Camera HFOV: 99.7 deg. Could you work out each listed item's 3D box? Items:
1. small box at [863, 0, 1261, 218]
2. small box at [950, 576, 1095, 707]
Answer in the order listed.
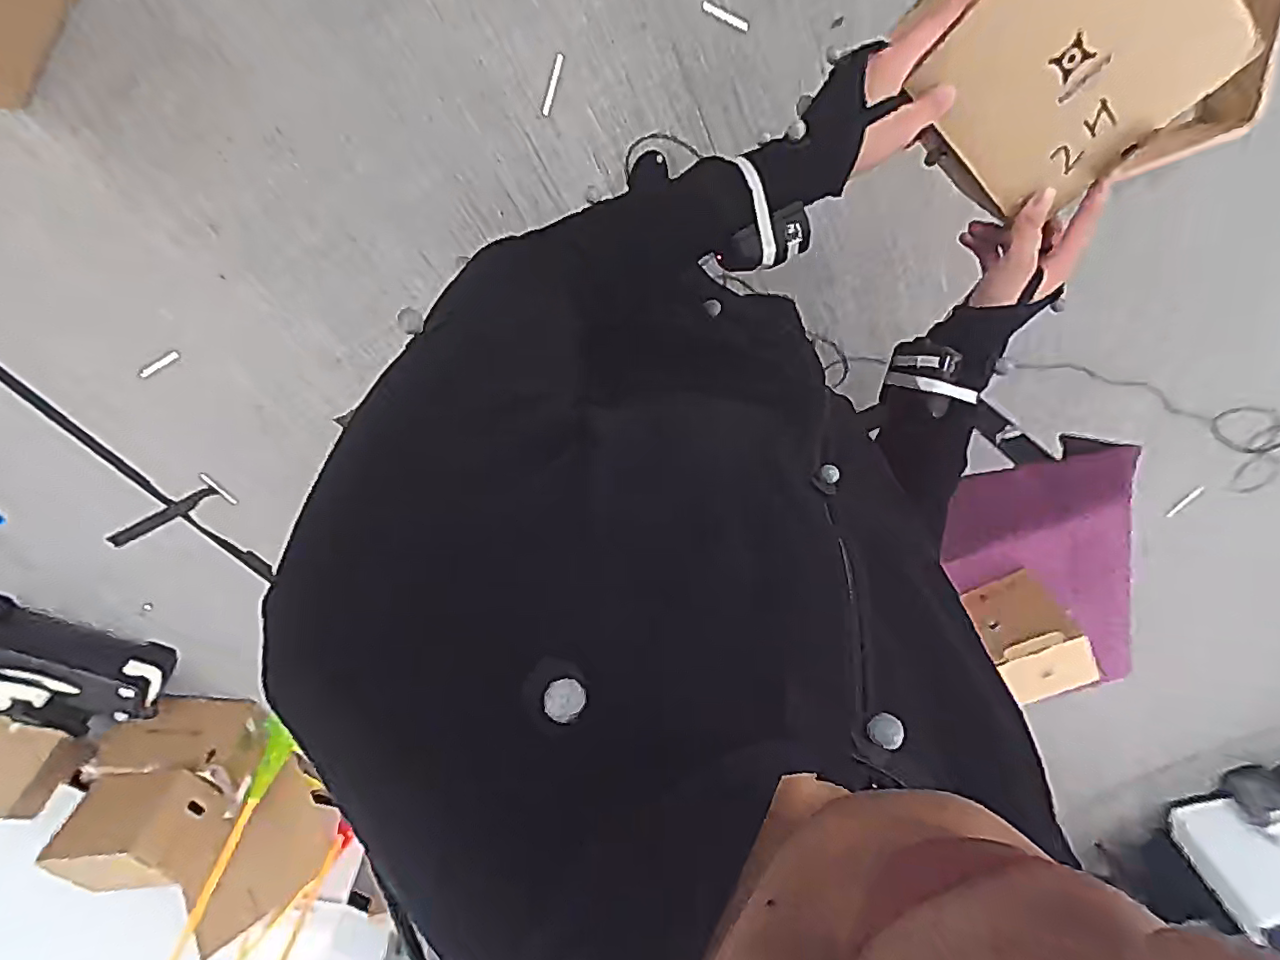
[{"bbox_3d":[0.313,-0.359,0.442,0.179,0.176,0.168,32,128,-20],"label":"small box"},{"bbox_3d":[0.762,0.318,1.091,0.168,0.176,0.179,-30,121,19],"label":"small box"}]
